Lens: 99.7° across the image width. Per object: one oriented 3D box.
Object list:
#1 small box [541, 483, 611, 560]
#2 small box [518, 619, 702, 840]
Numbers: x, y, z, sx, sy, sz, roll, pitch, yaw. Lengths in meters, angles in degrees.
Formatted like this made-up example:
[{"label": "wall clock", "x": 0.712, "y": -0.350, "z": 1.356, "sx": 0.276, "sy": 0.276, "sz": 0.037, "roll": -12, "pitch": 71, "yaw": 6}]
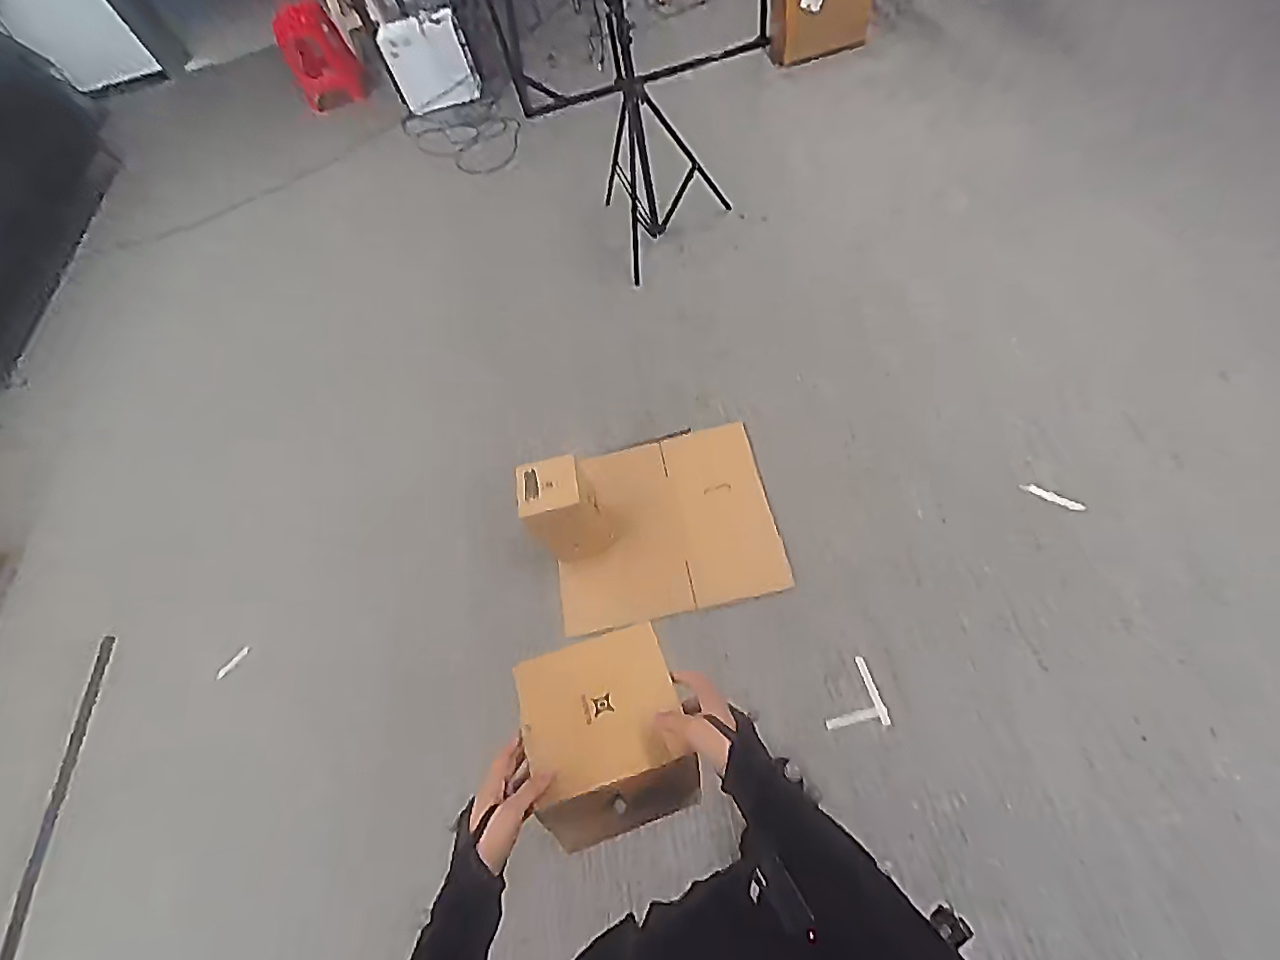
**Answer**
[{"label": "small box", "x": -0.196, "y": 0.134, "z": 1.700, "sx": 0.179, "sy": 0.176, "sz": 0.168, "roll": -14, "pitch": 59, "yaw": 5}, {"label": "small box", "x": -0.033, "y": 0.303, "z": 0.659, "sx": 0.179, "sy": 0.176, "sz": 0.168, "roll": -17, "pitch": 44, "yaw": -7}]
